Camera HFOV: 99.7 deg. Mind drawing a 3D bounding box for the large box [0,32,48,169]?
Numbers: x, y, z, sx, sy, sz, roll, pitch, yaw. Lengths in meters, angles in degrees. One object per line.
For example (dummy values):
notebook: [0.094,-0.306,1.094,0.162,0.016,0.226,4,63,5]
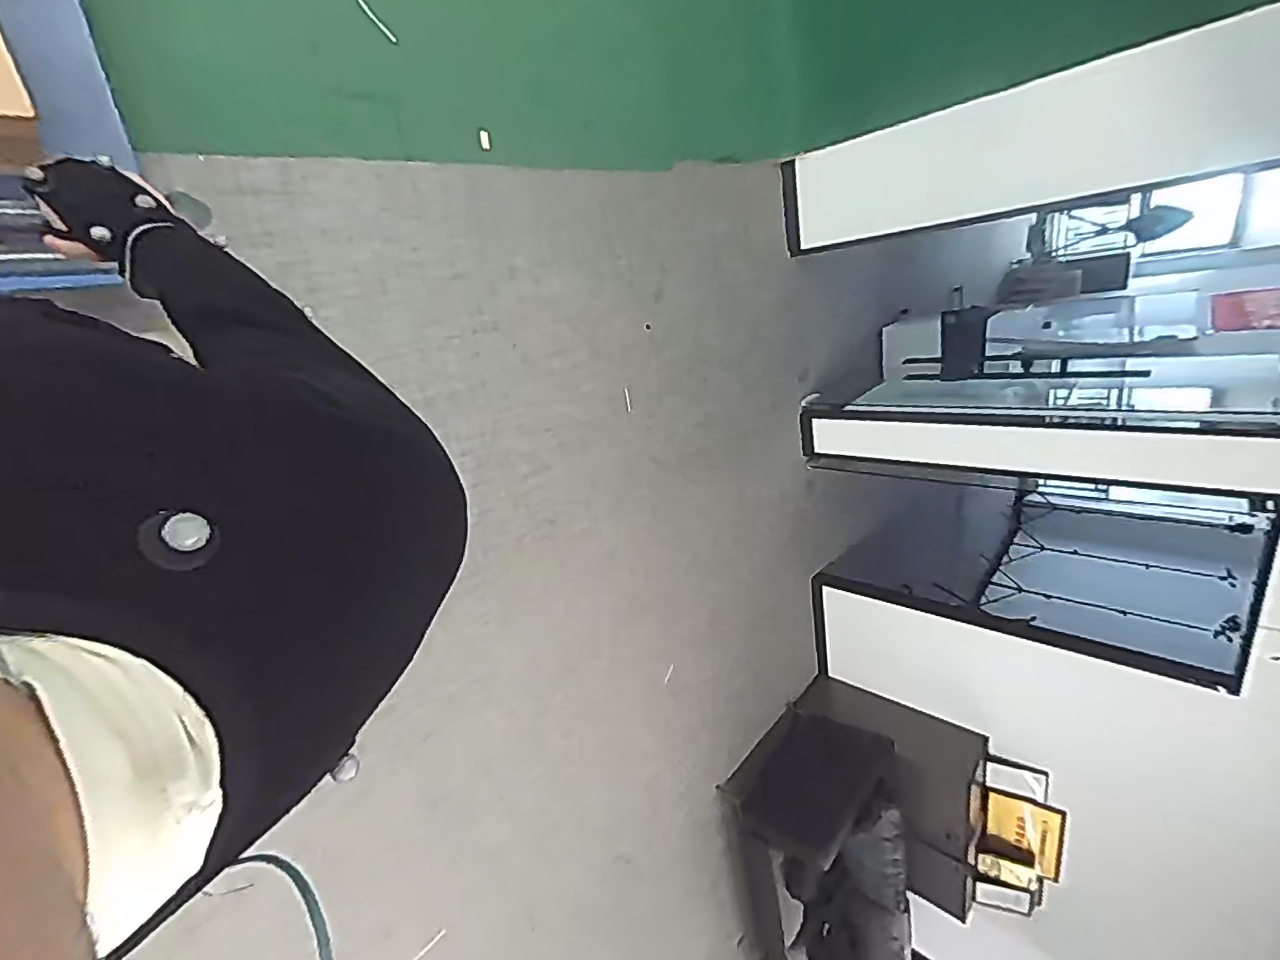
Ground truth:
large box: [-1.099,-0.667,0.709,0.320,0.320,0.408,-27,115,-40]
